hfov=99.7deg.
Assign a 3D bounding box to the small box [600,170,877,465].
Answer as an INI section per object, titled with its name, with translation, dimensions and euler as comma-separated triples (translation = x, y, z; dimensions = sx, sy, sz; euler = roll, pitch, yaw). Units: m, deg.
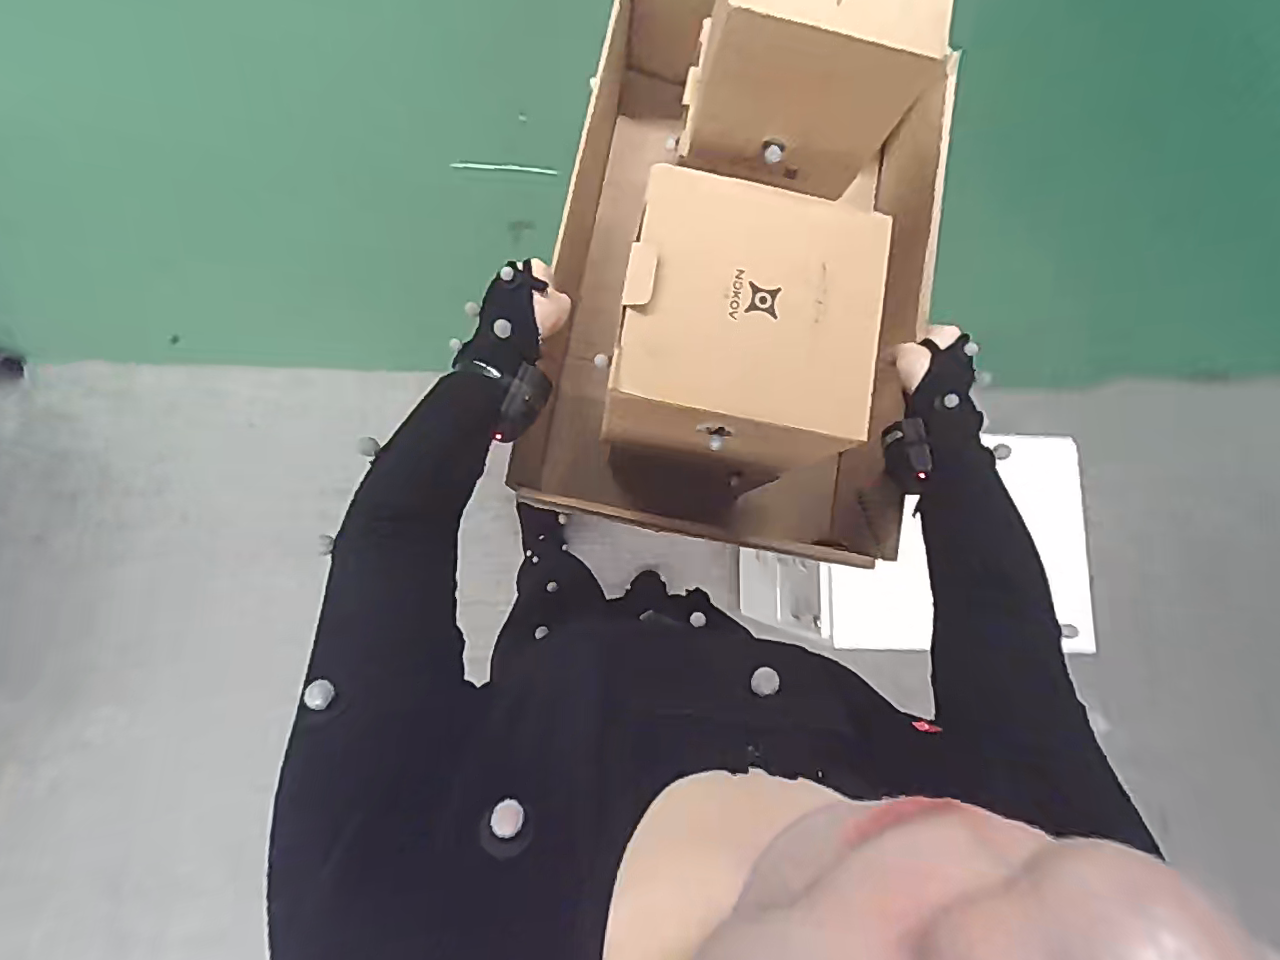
[small box]
translation = 0.064, -0.112, 0.446
dimensions = 0.179, 0.176, 0.168
euler = 9, 83, -5
